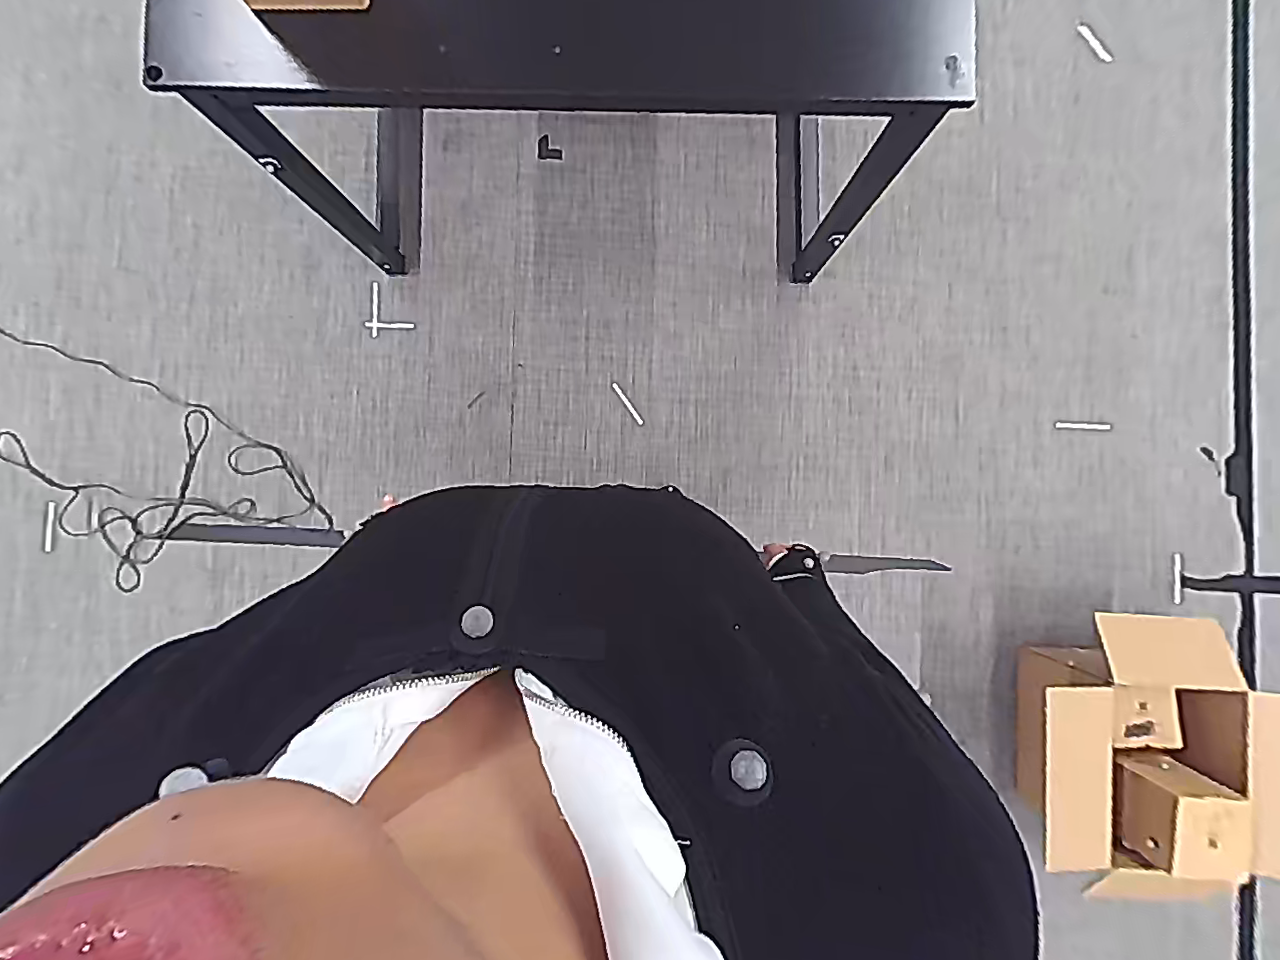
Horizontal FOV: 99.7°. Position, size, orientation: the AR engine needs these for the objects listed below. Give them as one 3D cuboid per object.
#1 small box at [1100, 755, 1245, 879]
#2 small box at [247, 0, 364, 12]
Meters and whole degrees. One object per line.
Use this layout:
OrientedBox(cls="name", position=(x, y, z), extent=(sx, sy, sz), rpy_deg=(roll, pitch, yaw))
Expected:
OrientedBox(cls="small box", position=(1.195, 0.757, 1.226), extent=(0.168, 0.176, 0.179), rpy_deg=(4, 89, -1))
OrientedBox(cls="small box", position=(-0.483, -0.764, 0.710), extent=(0.179, 0.176, 0.168), rpy_deg=(-1, 88, 0))
